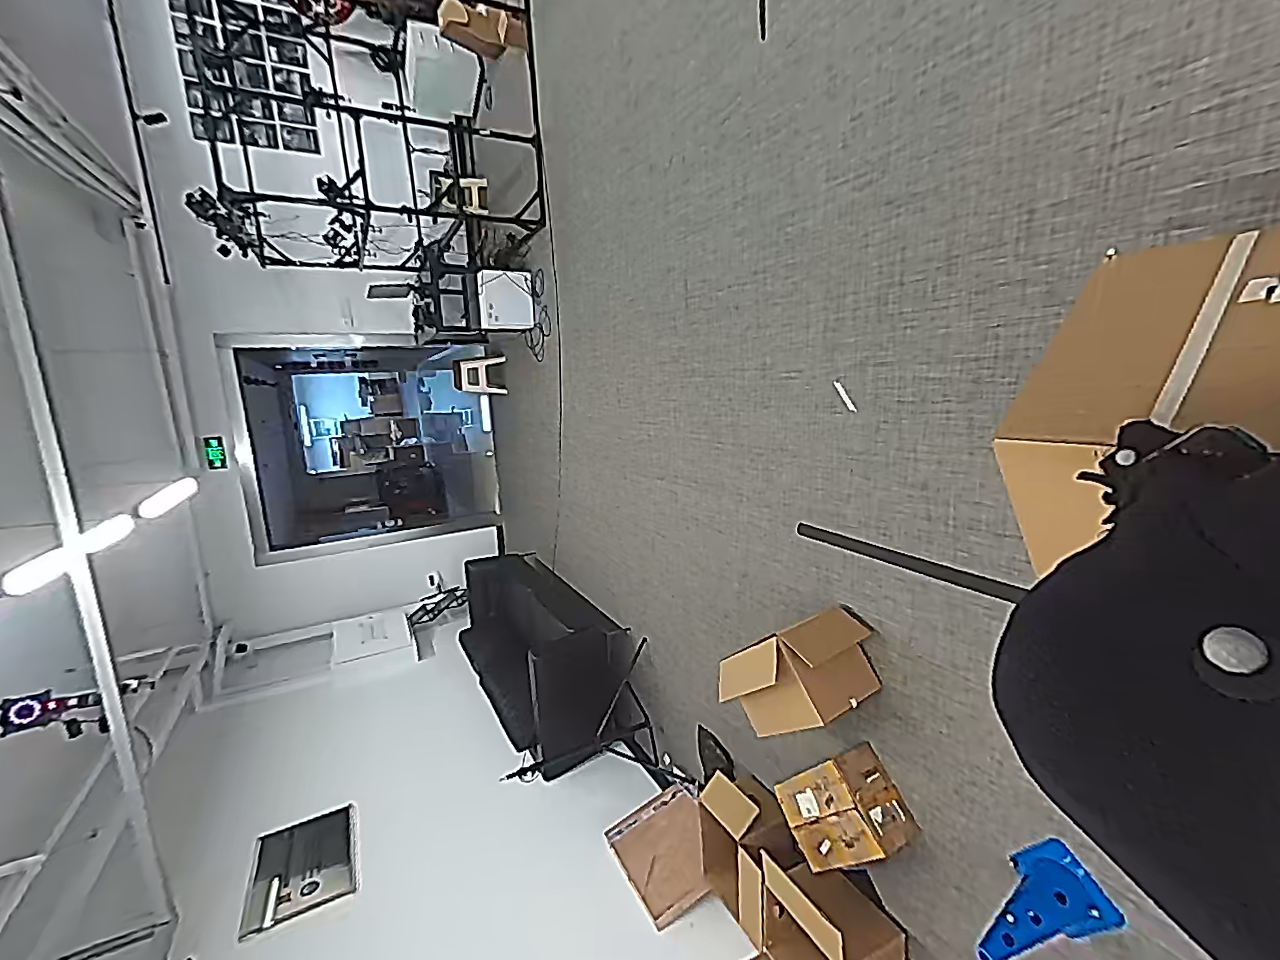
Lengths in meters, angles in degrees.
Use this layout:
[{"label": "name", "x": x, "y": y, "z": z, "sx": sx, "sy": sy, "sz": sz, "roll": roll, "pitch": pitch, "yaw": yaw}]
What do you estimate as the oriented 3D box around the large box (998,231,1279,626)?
[{"label": "large box", "x": 0.764, "y": -0.074, "z": 0.727, "sx": 0.320, "sy": 0.408, "sz": 0.320, "roll": 52, "pitch": 160, "yaw": -28}]
